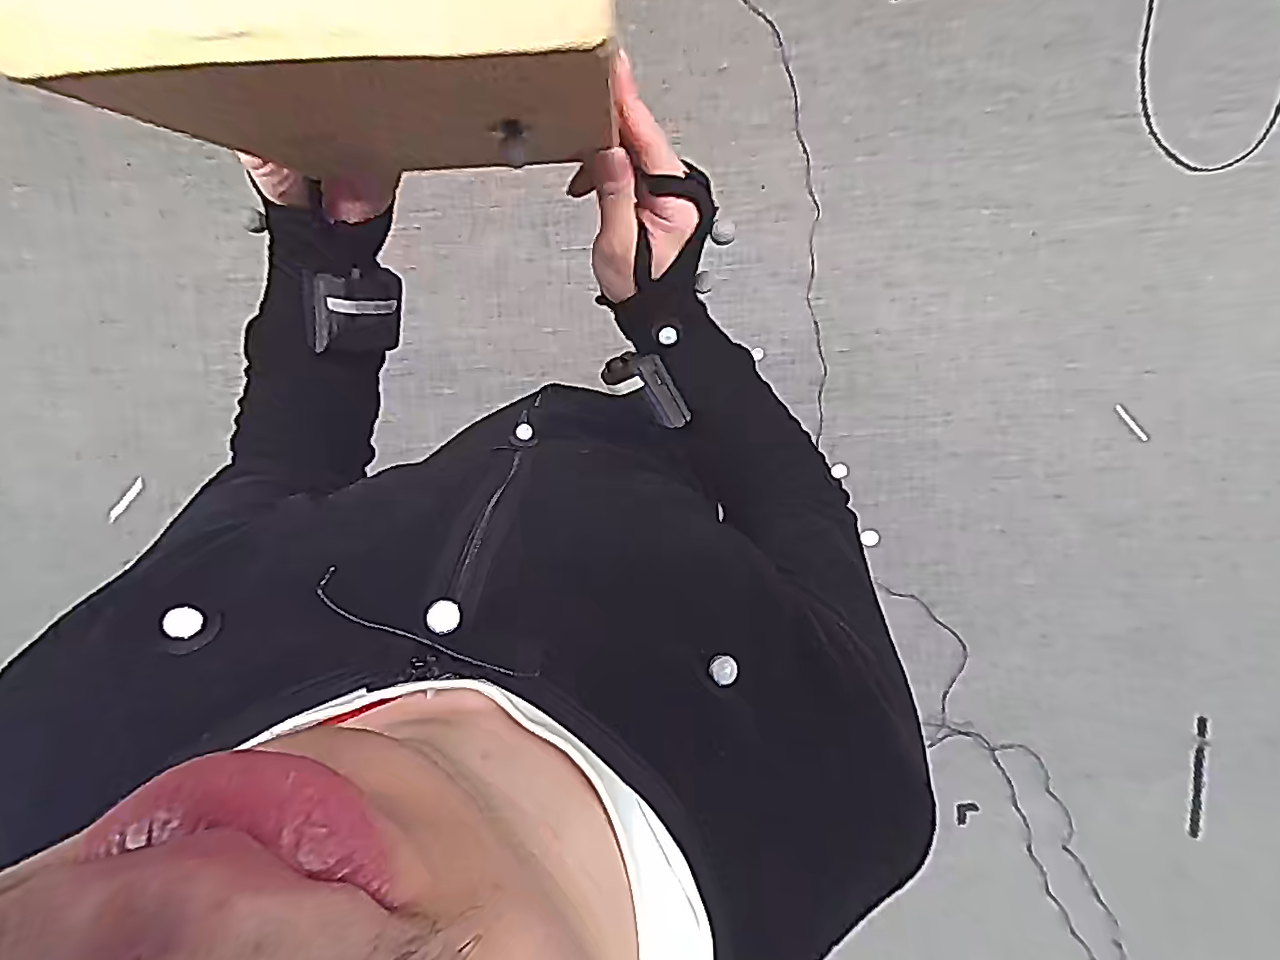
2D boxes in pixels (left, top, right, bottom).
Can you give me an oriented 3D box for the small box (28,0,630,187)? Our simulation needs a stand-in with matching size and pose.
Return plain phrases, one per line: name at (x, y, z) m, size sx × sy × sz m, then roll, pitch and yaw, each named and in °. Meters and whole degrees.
small box at (-0.100, -0.227, 0.214) m, size 0.179 × 0.176 × 0.168 m, roll -6°, pitch 109°, yaw 0°
